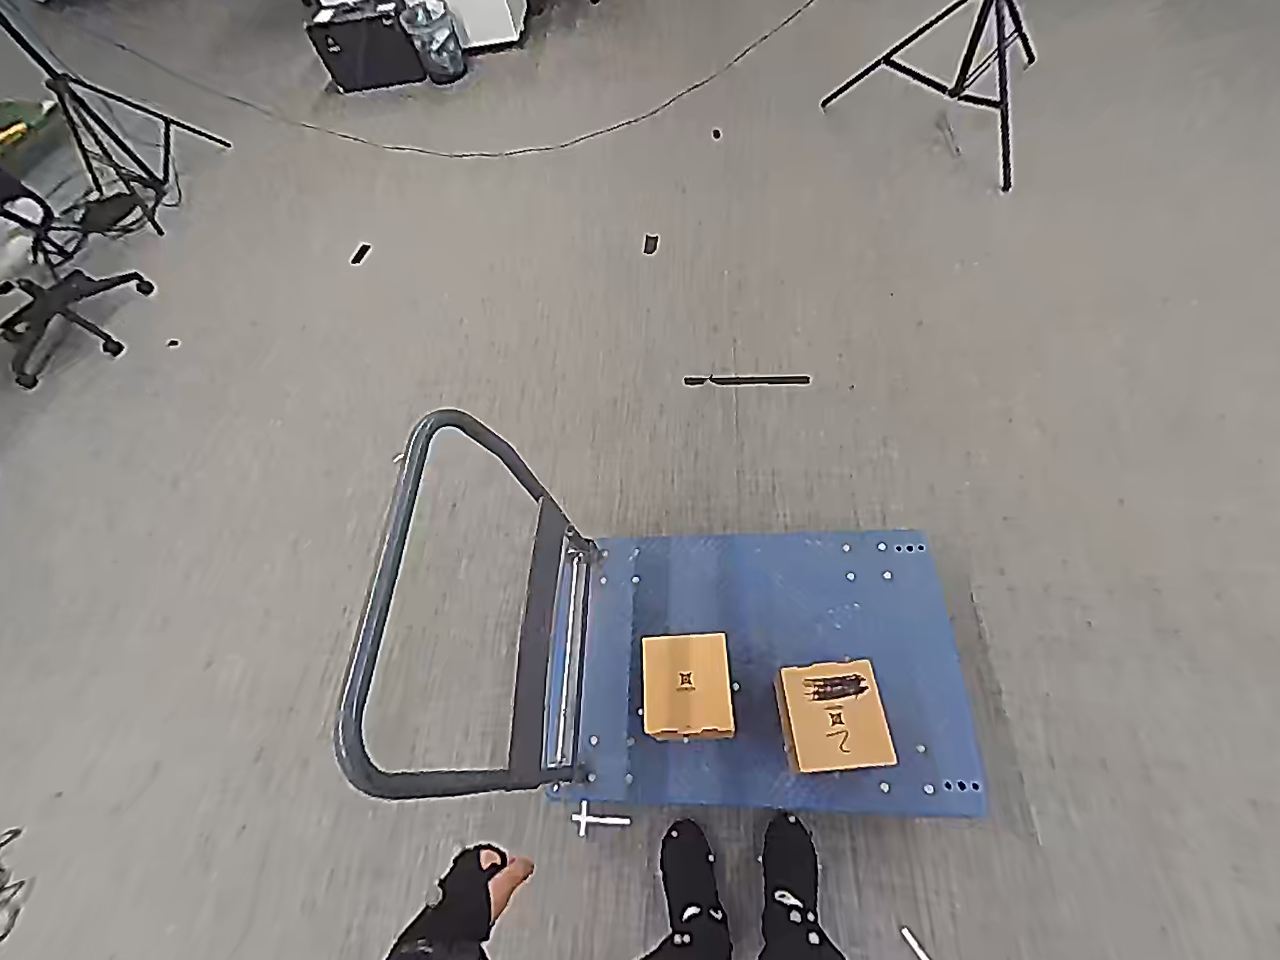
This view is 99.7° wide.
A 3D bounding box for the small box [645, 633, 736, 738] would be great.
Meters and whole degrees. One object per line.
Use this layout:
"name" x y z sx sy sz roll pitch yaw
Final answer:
"small box" 0.100 0.418 1.094 0.168 0.176 0.179 -5 62 6
